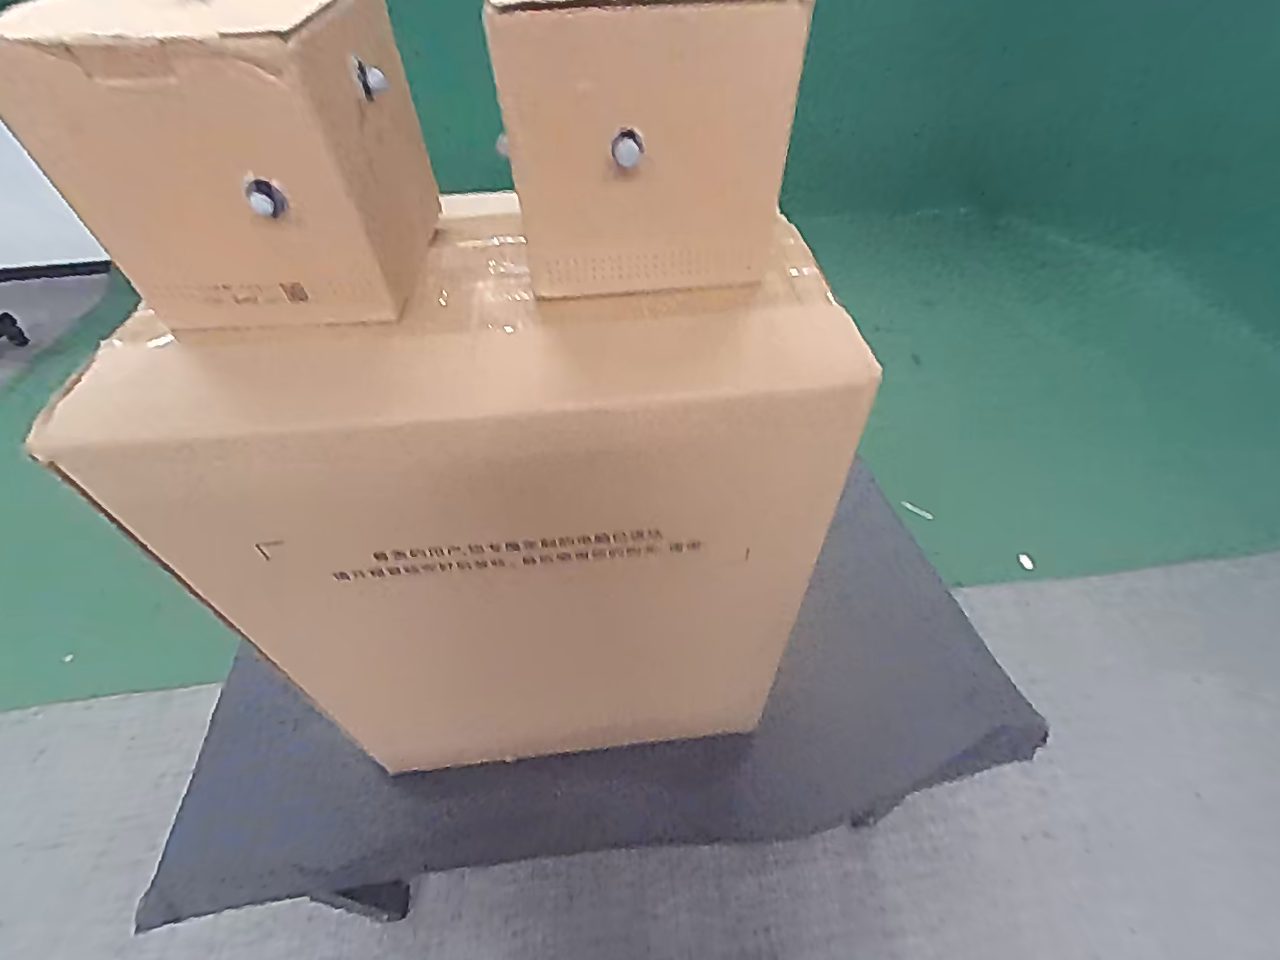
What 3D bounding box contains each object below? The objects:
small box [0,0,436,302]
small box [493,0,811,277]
[{"bbox_3d":[-0.253,-0.237,0.368,0.168,0.176,0.179,-1,49,-4],"label":"small box"},{"bbox_3d":[0.004,-0.263,0.390,0.179,0.176,0.168,-6,50,-4],"label":"small box"}]
